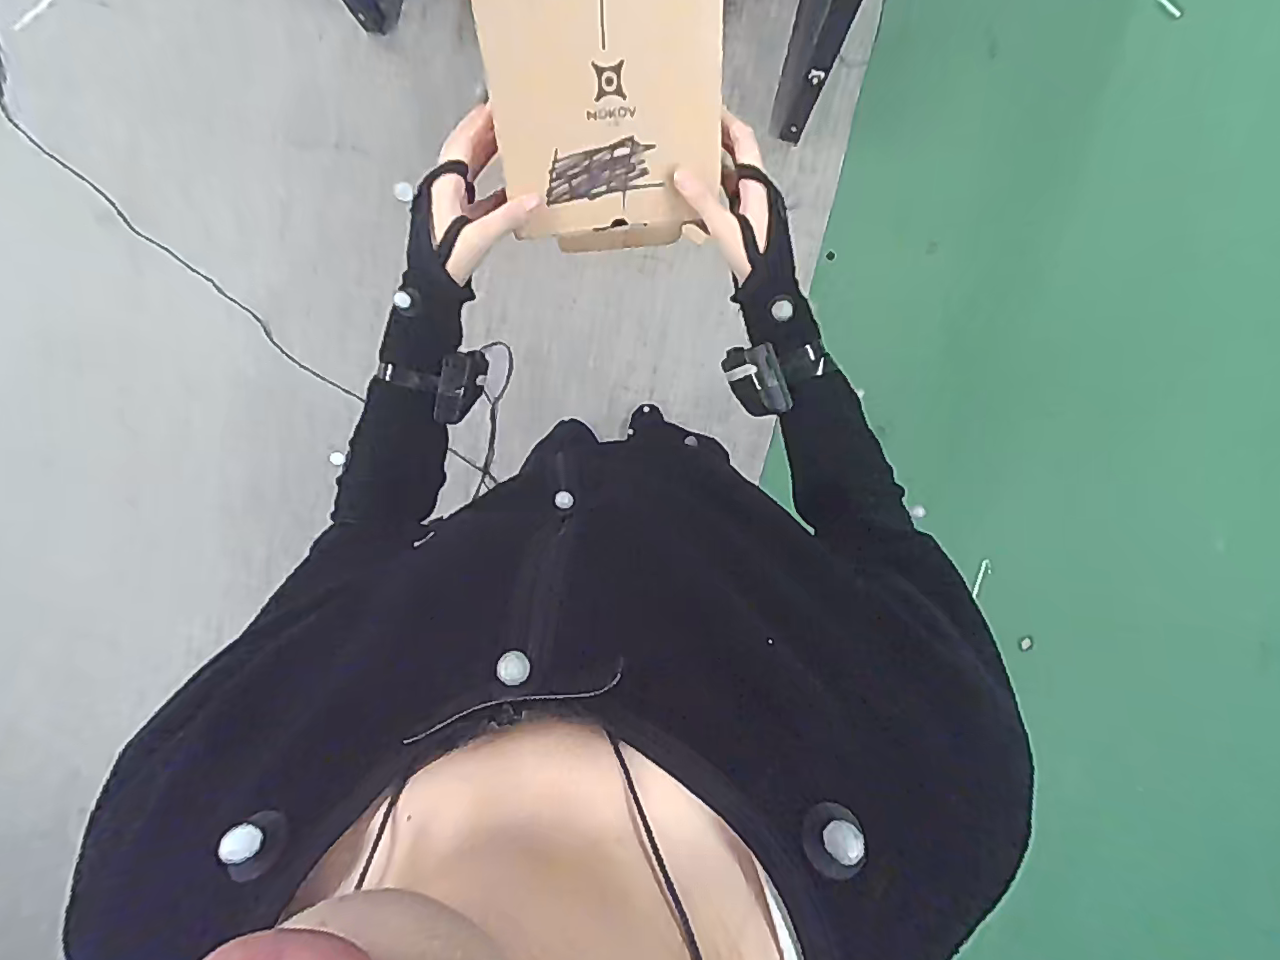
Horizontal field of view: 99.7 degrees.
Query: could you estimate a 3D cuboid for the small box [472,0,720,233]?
[{"bbox_3d":[-0.037,-0.319,0.447,0.168,0.176,0.179,-8,125,-6],"label":"small box"}]
